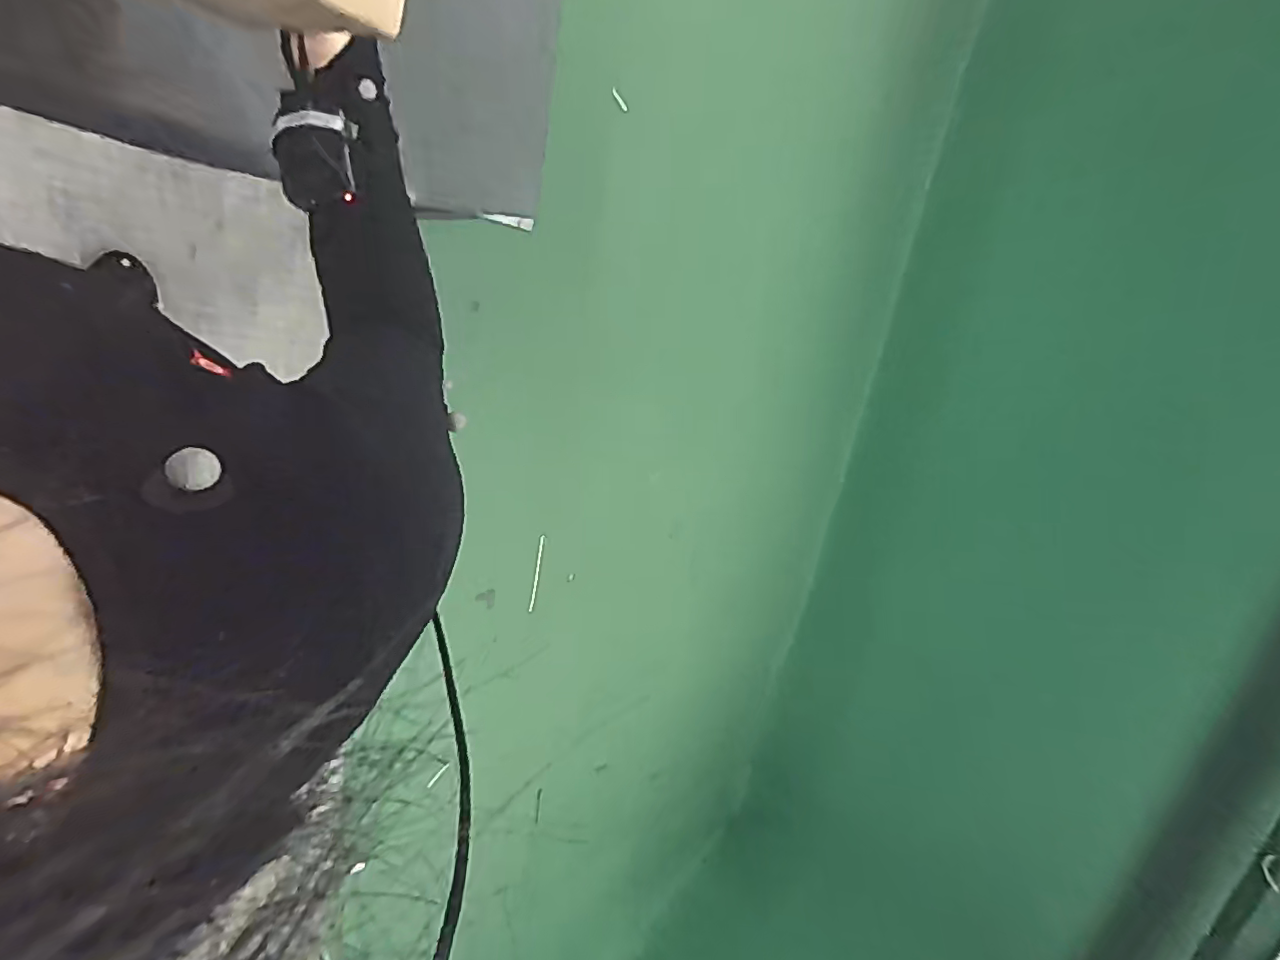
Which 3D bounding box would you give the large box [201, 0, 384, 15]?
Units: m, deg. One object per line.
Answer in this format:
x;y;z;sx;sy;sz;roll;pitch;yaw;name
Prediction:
-0.340;-0.454;0.195;0.408;0.320;0.320;-7;125;-48;large box
